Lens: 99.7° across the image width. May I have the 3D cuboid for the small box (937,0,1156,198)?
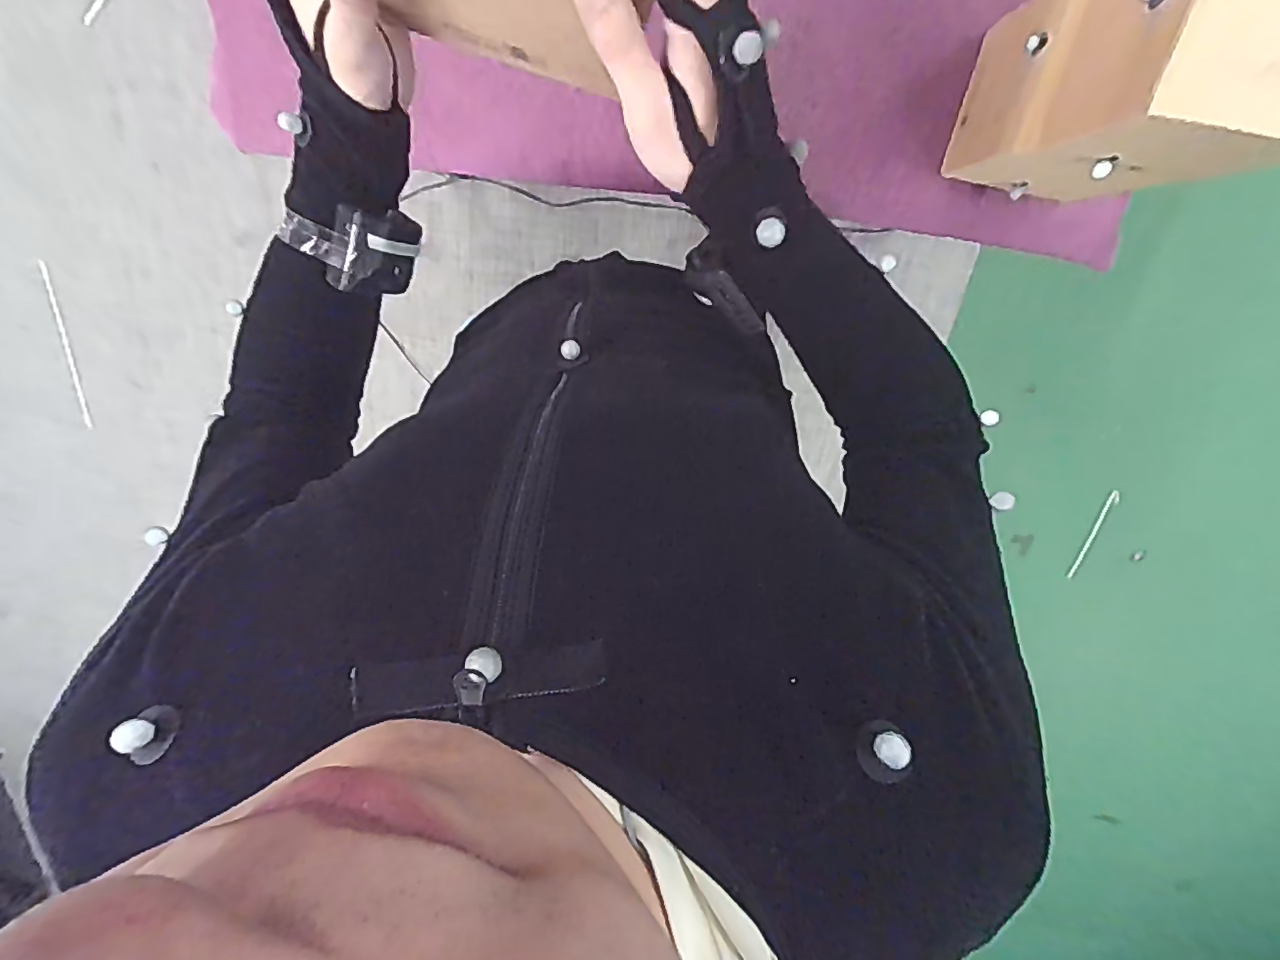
[{"bbox_3d":[0.491,-0.437,0.624,0.179,0.176,0.168,10,111,-3],"label":"small box"}]

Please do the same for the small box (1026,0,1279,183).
[{"bbox_3d":[0.489,-0.381,0.471,0.168,0.176,0.179,11,112,0],"label":"small box"}]
